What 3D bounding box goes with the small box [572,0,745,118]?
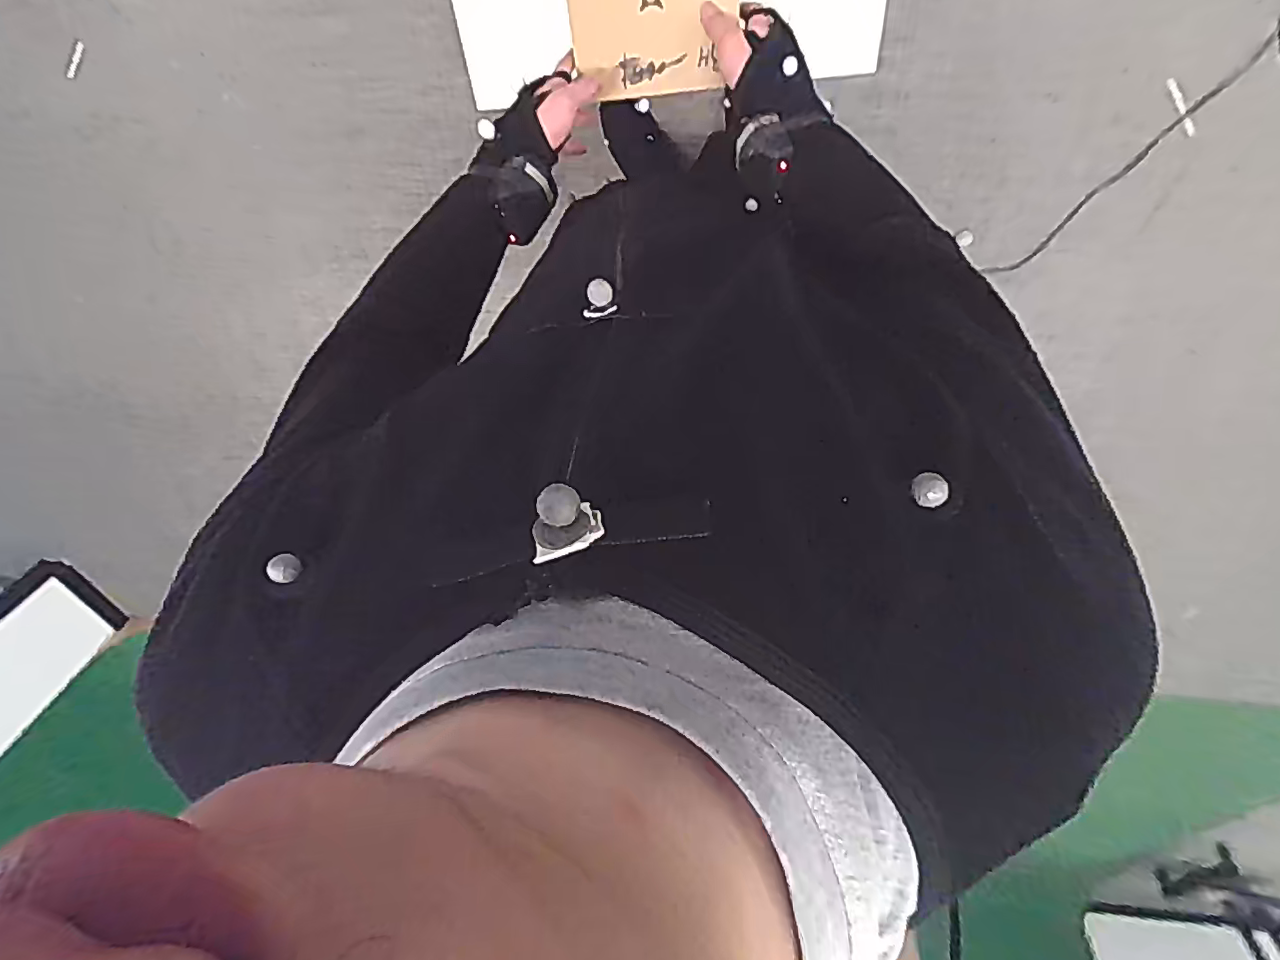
[{"bbox_3d":[0.023,-0.503,0.573,0.168,0.176,0.179,-1,129,9],"label":"small box"}]
